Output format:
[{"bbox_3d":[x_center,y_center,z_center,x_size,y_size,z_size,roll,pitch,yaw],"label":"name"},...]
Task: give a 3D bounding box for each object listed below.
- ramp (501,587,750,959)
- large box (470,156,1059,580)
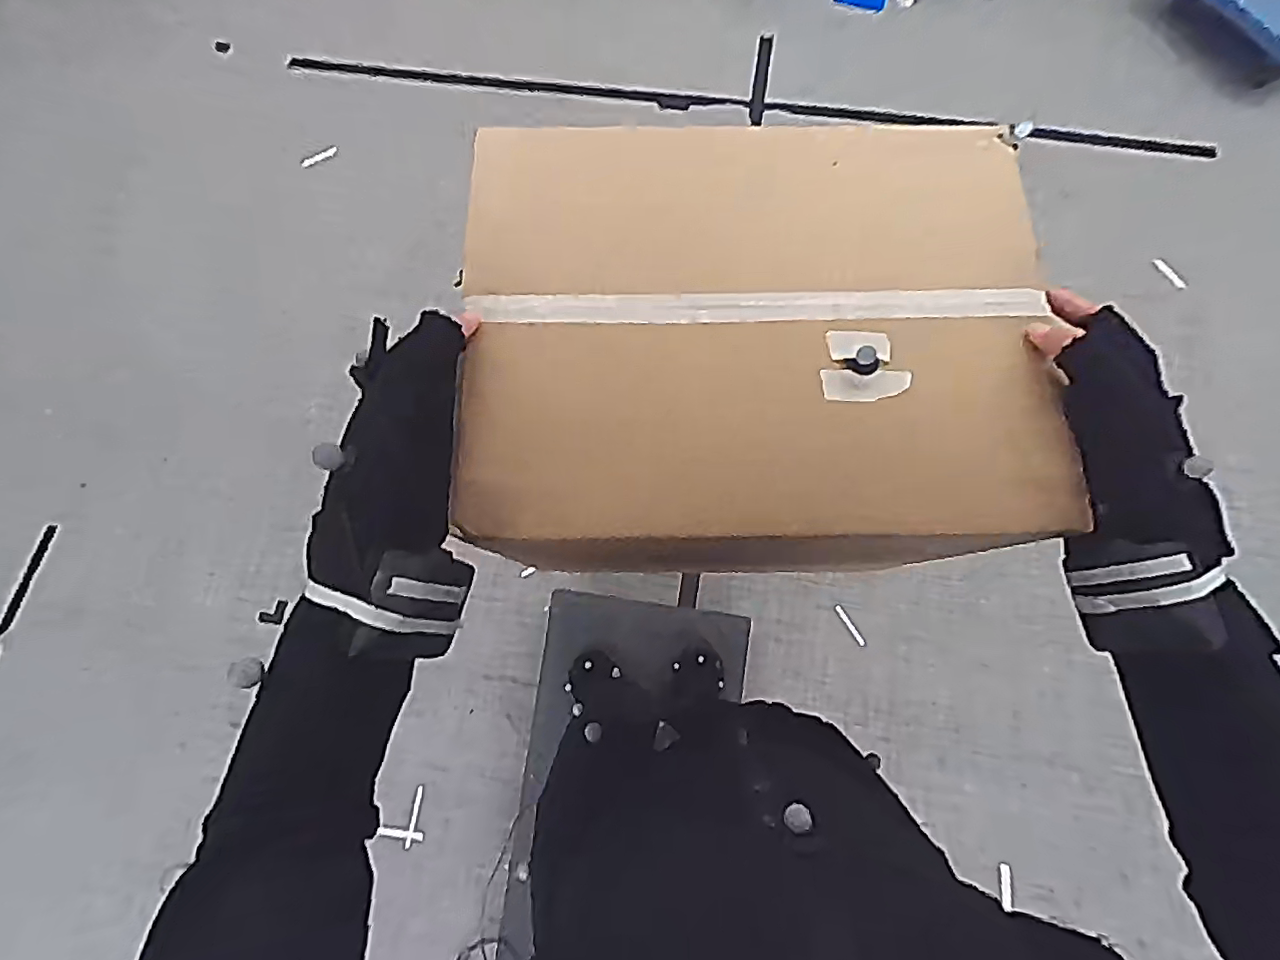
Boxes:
[{"bbox_3d":[-0.034,0.784,1.289,0.509,0.206,0.991,6,75,1],"label":"ramp"},{"bbox_3d":[0.077,-0.072,0.538,0.408,0.320,0.320,-1,76,-1],"label":"large box"}]
